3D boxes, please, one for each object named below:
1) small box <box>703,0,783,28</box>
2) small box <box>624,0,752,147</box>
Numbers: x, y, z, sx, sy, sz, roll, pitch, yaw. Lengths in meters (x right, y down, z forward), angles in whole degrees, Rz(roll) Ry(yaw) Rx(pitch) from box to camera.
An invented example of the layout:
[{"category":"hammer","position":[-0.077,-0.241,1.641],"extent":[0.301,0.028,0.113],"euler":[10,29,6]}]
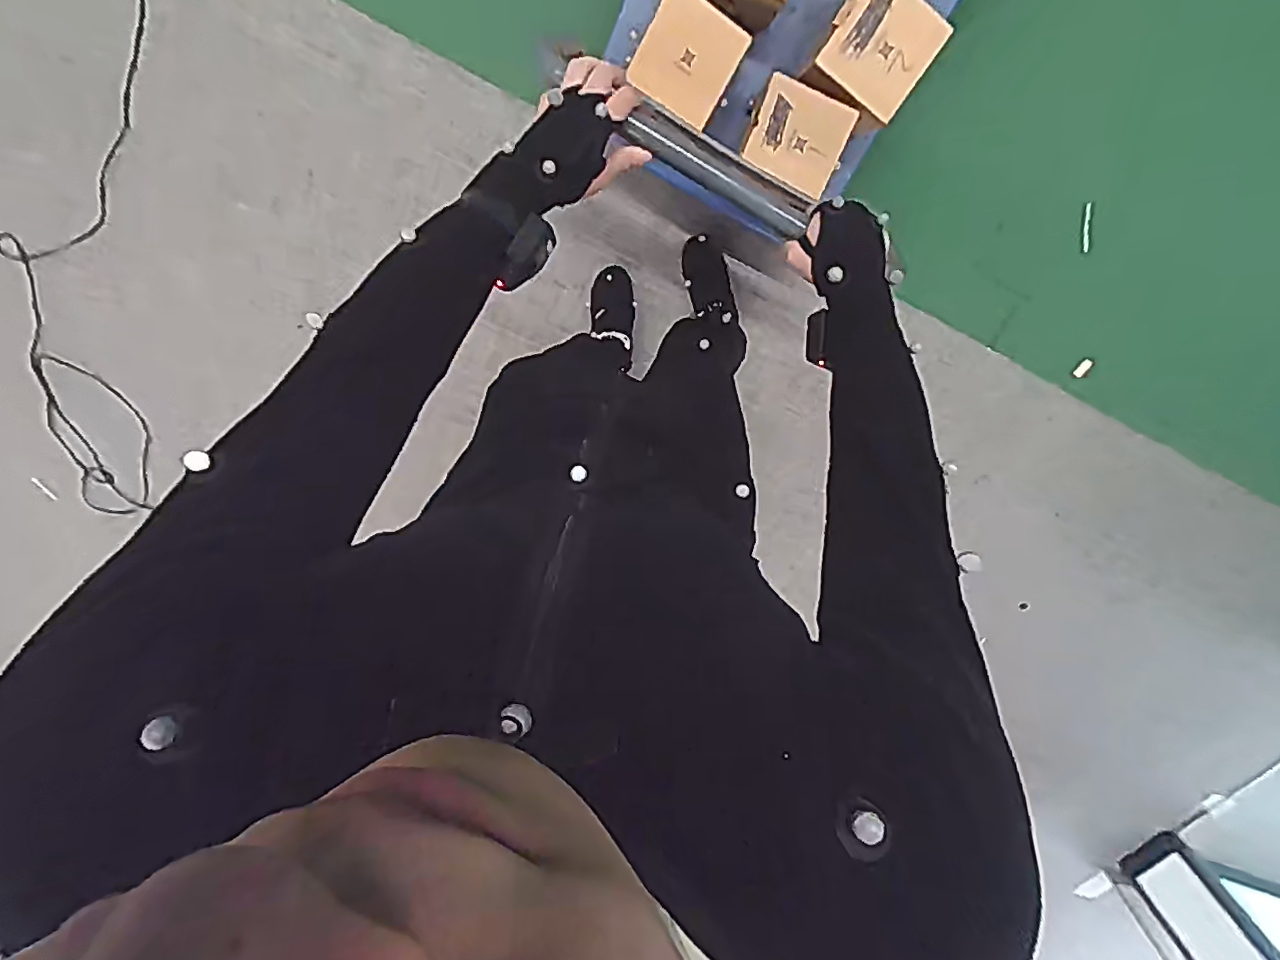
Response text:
[{"category":"small box","position":[0.191,-0.934,0.941],"extent":[0.168,0.176,0.179],"euler":[15,115,-6]},{"category":"small box","position":[0.082,-0.769,1.024],"extent":[0.168,0.176,0.179],"euler":[29,113,-13]}]
